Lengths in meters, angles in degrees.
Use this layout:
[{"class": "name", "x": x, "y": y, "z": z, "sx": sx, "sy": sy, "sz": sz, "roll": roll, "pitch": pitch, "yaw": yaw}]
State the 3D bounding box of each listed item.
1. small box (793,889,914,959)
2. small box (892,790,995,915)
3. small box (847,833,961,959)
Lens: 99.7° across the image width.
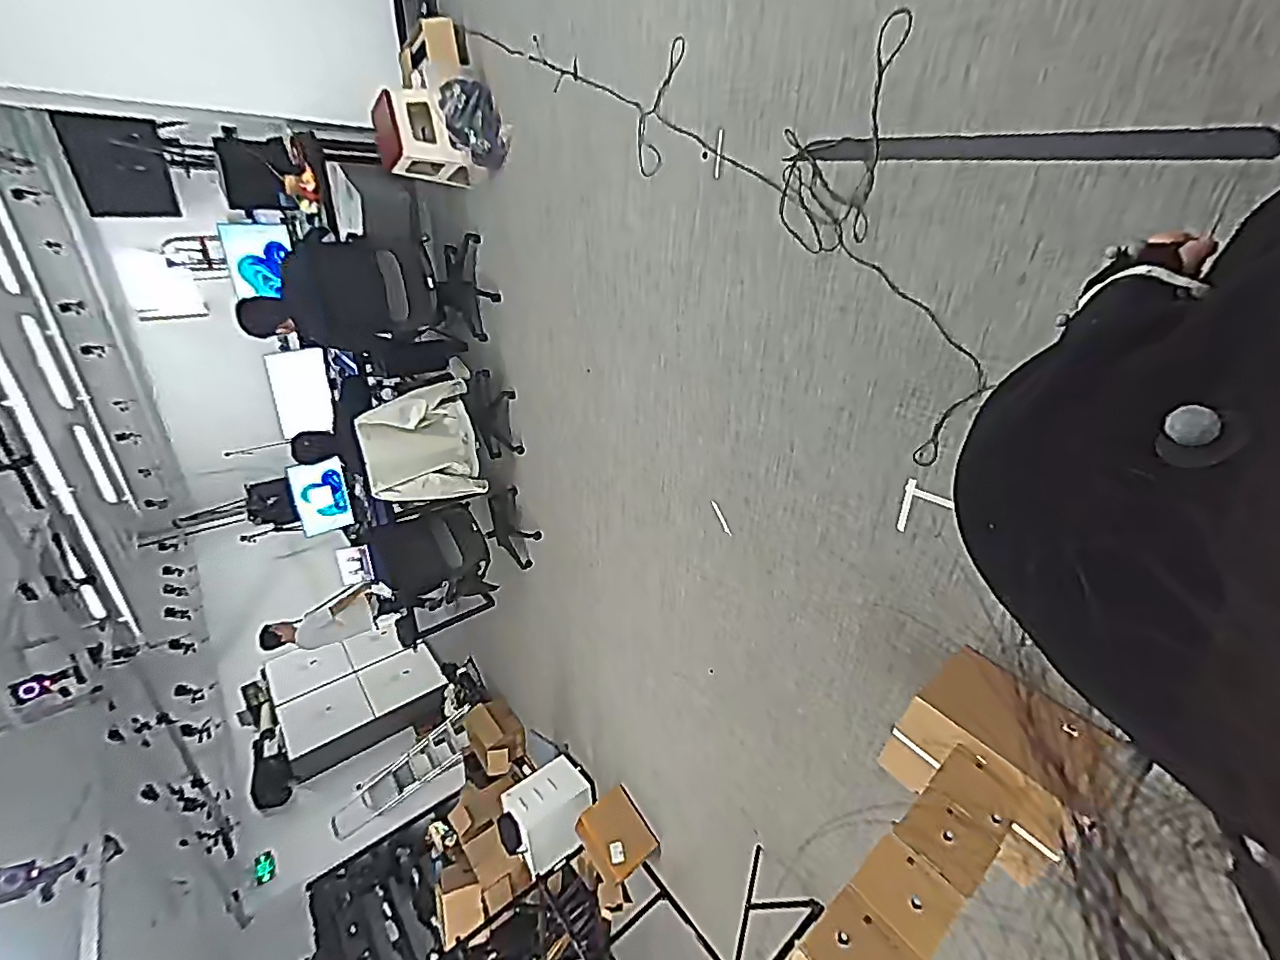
[{"class": "small box", "x": 0.396, "y": 0.925, "z": 1.010, "sx": 0.168, "sy": 0.176, "sz": 0.179, "roll": 34, "pitch": 133, "yaw": 41}, {"class": "small box", "x": 0.647, "y": 0.835, "z": 1.196, "sx": 0.168, "sy": 0.176, "sz": 0.179, "roll": 36, "pitch": 132, "yaw": 39}, {"class": "small box", "x": 0.521, "y": 0.876, "z": 1.102, "sx": 0.168, "sy": 0.176, "sz": 0.179, "roll": 33, "pitch": 131, "yaw": 40}]
